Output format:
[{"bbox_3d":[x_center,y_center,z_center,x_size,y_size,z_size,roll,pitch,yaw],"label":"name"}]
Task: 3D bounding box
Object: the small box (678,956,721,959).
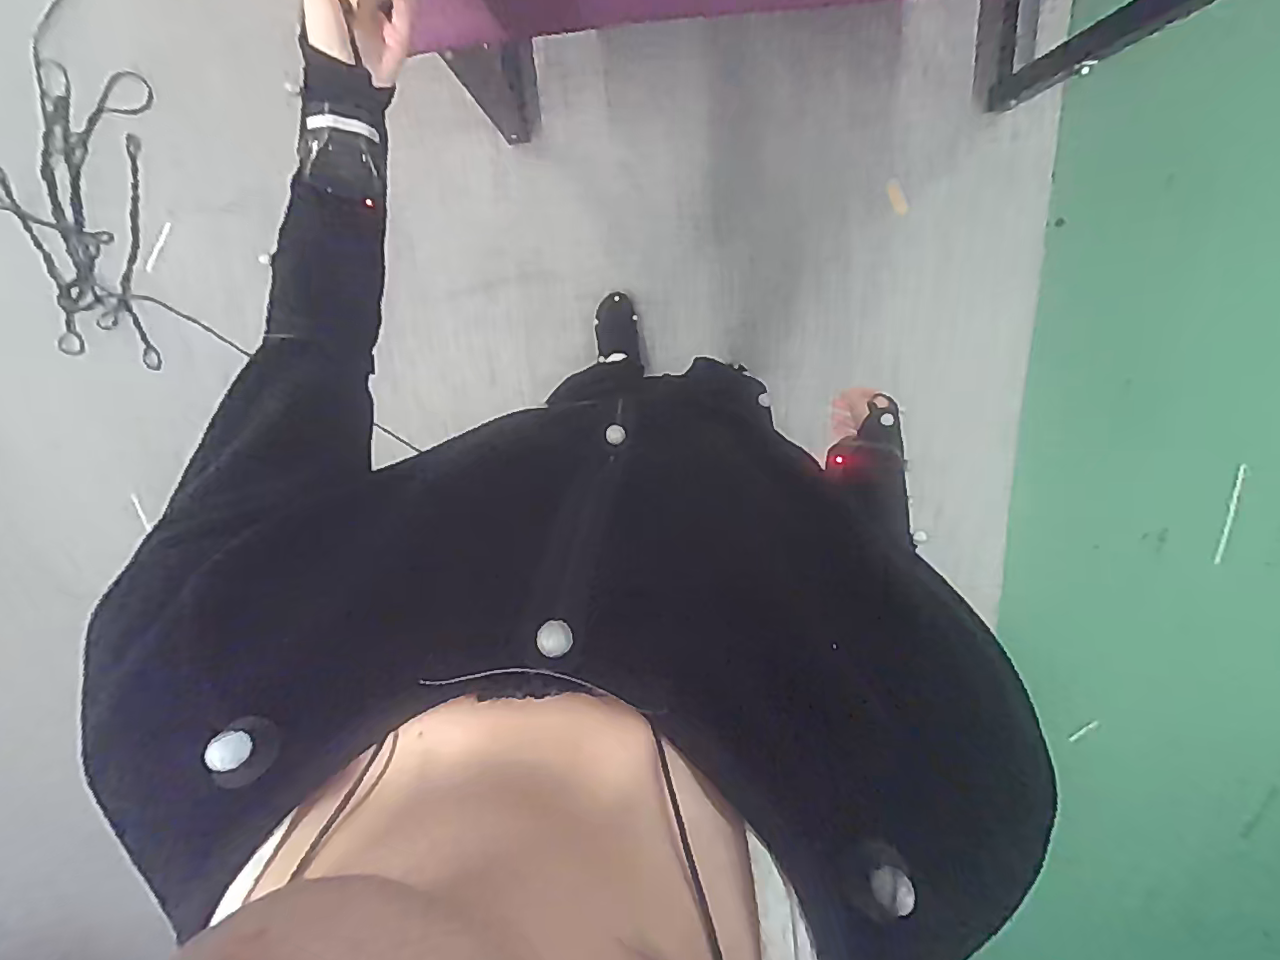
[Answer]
[{"bbox_3d":[0.178,1.449,1.476,0.168,0.176,0.179,5,107,-4],"label":"small box"}]
